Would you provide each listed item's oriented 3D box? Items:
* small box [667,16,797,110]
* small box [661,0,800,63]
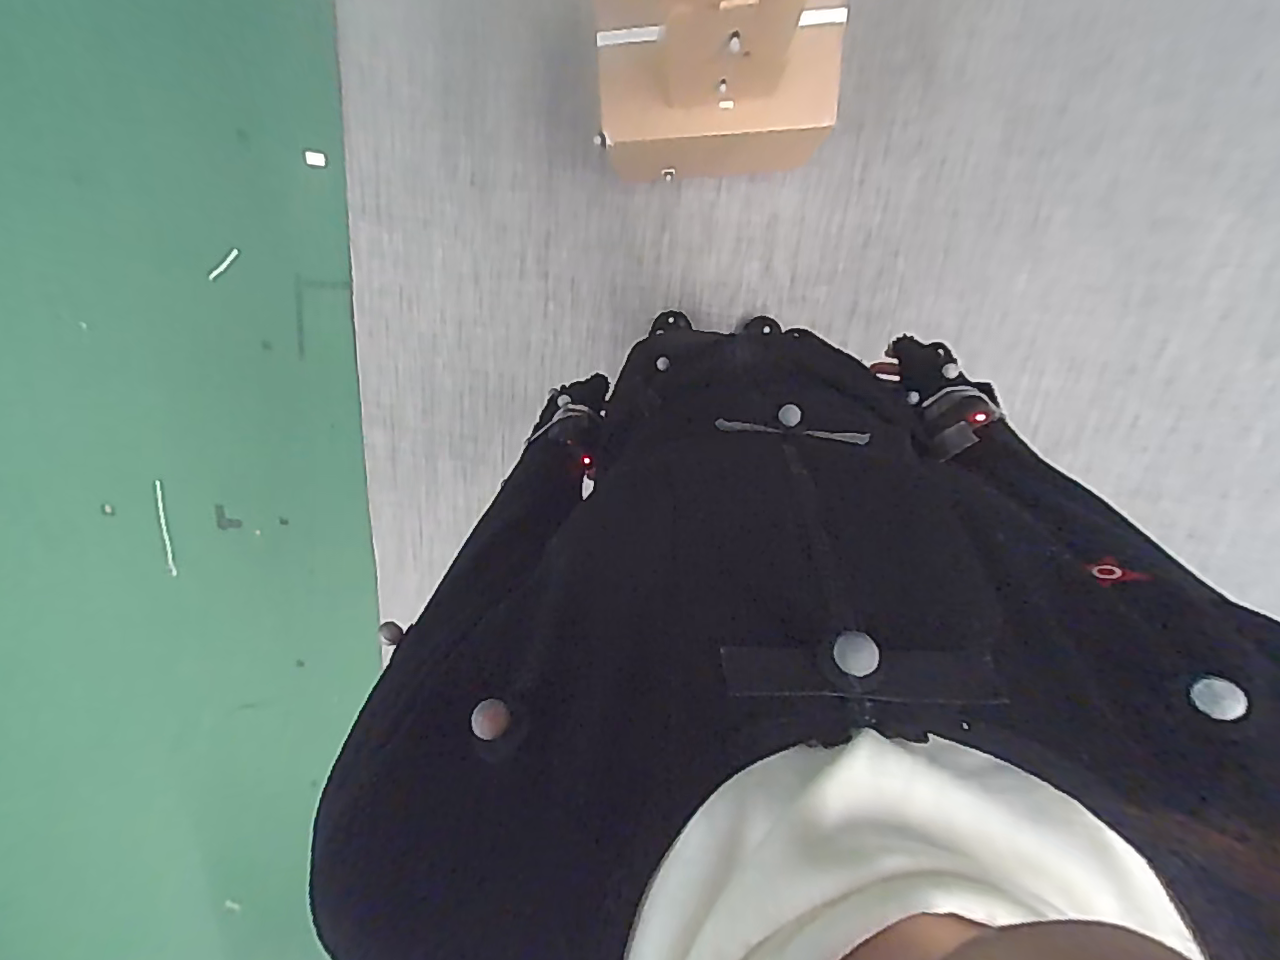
[{"bbox_3d":[0.129,-0.689,0.814,0.179,0.176,0.168,-6,107,7],"label":"small box"},{"bbox_3d":[0.108,-0.643,0.658,0.168,0.176,0.179,-3,108,7],"label":"small box"}]
